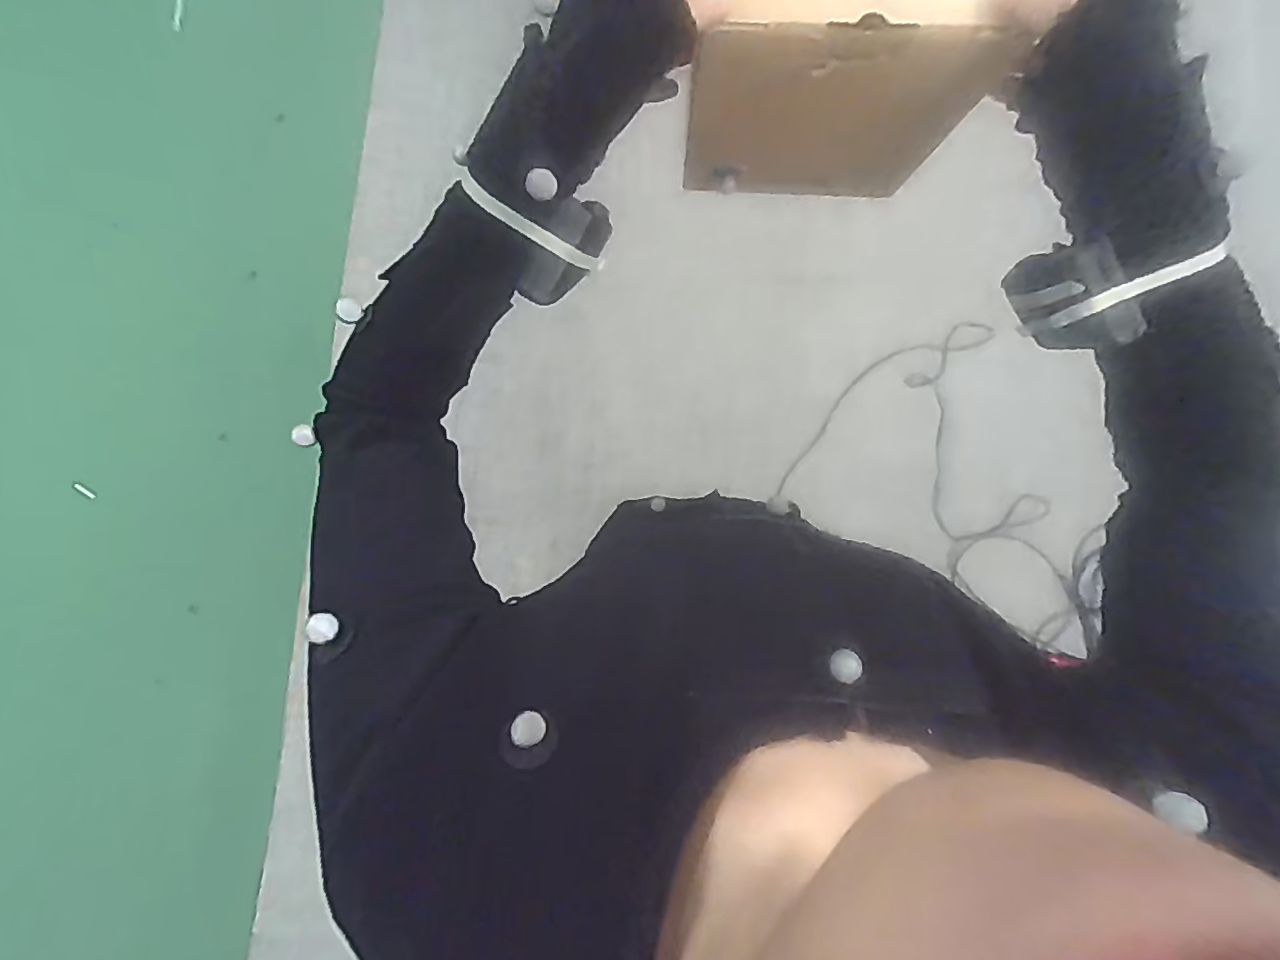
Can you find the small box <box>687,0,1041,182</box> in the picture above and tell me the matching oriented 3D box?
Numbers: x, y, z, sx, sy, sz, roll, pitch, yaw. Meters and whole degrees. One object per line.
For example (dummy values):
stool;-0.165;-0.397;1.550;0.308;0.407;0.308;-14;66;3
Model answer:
small box;0.119;-0.316;0.342;0.168;0.176;0.179;2;91;1
